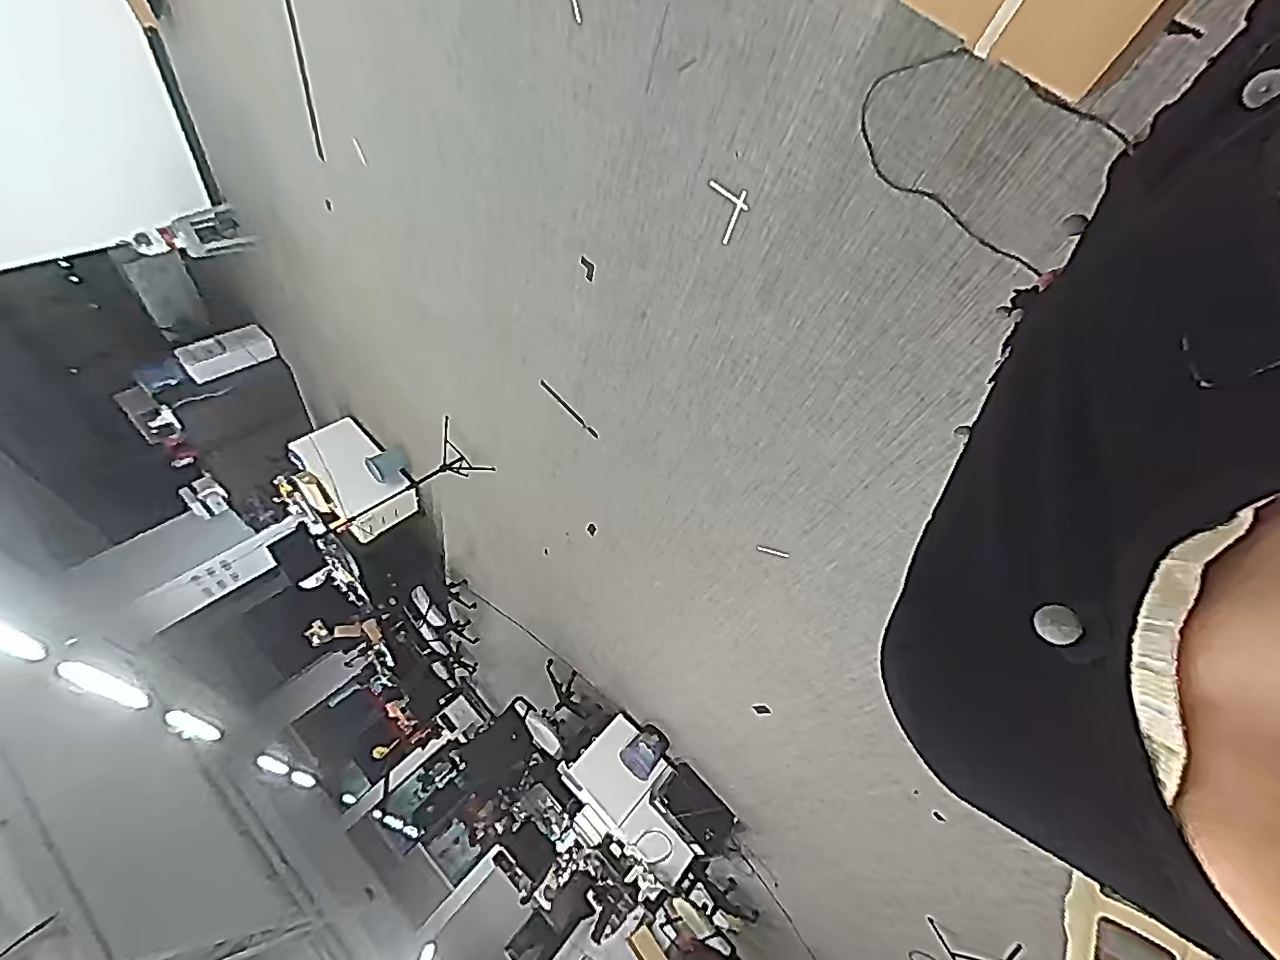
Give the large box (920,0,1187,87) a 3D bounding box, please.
[{"bbox_3d":[0.632,-0.796,0.679,0.320,0.320,0.408,44,144,13],"label":"large box"}]
